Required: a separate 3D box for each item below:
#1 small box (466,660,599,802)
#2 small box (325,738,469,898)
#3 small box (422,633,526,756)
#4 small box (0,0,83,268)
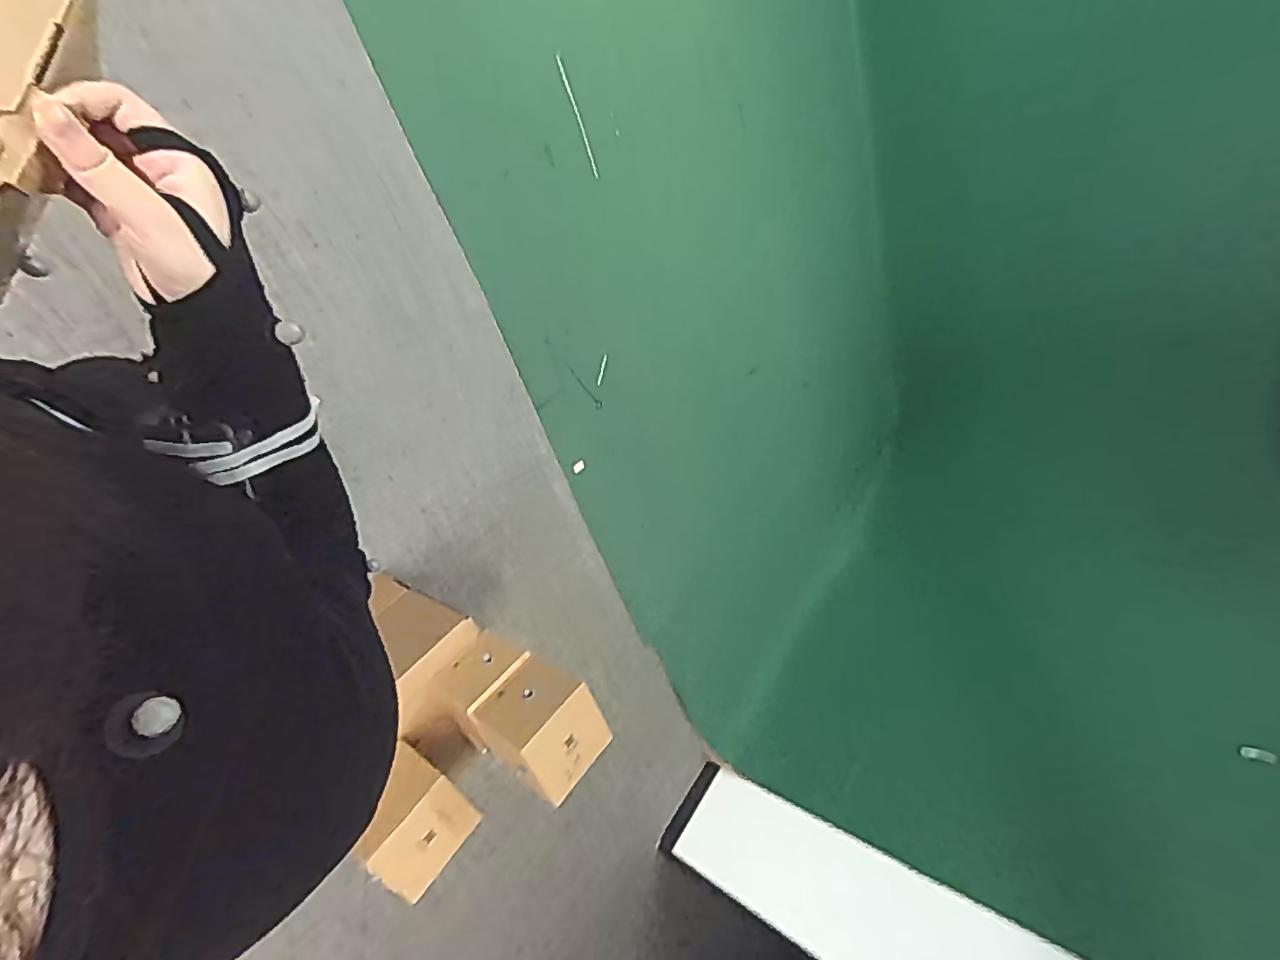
[{"bbox_3d":[-0.216,0.487,1.083,0.168,0.176,0.179,-39,124,-36],"label":"small box"},{"bbox_3d":[-0.481,0.653,1.061,0.179,0.176,0.168,-45,129,-36],"label":"small box"},{"bbox_3d":[-0.342,0.458,1.185,0.168,0.176,0.179,-41,125,-35],"label":"small box"},{"bbox_3d":[-0.390,-0.194,0.235,0.179,0.176,0.168,23,86,-45],"label":"small box"}]
